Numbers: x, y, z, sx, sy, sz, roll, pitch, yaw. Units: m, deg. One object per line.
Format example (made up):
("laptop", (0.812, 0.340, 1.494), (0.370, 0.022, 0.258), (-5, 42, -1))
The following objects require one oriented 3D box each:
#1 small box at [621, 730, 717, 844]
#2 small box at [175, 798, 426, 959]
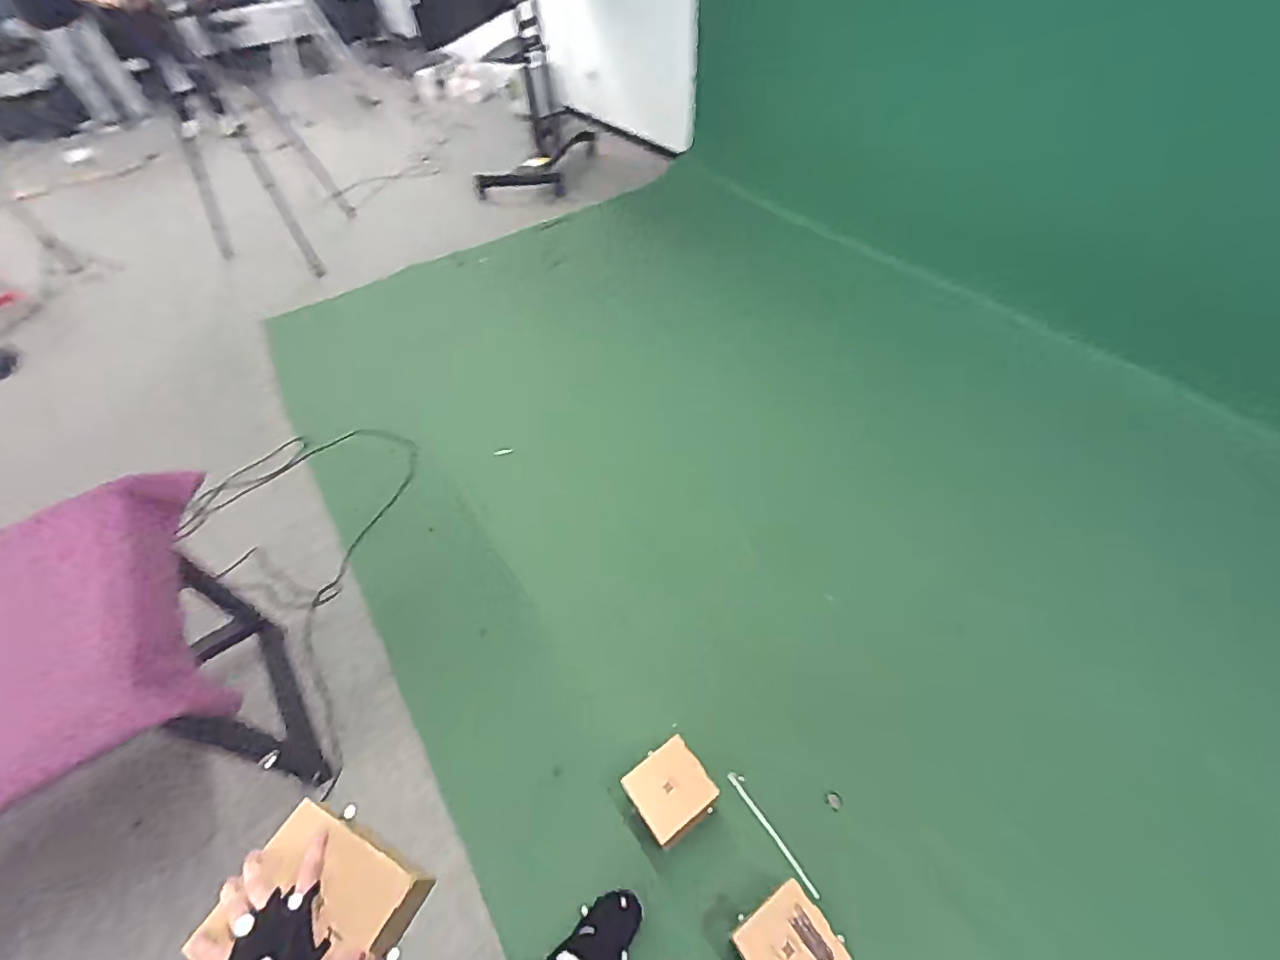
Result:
("small box", (0.074, 0.767, 1.344), (0.179, 0.176, 0.168), (-30, 54, -19))
("small box", (-0.399, 0.533, 0.671), (0.179, 0.176, 0.168), (27, 55, 10))
